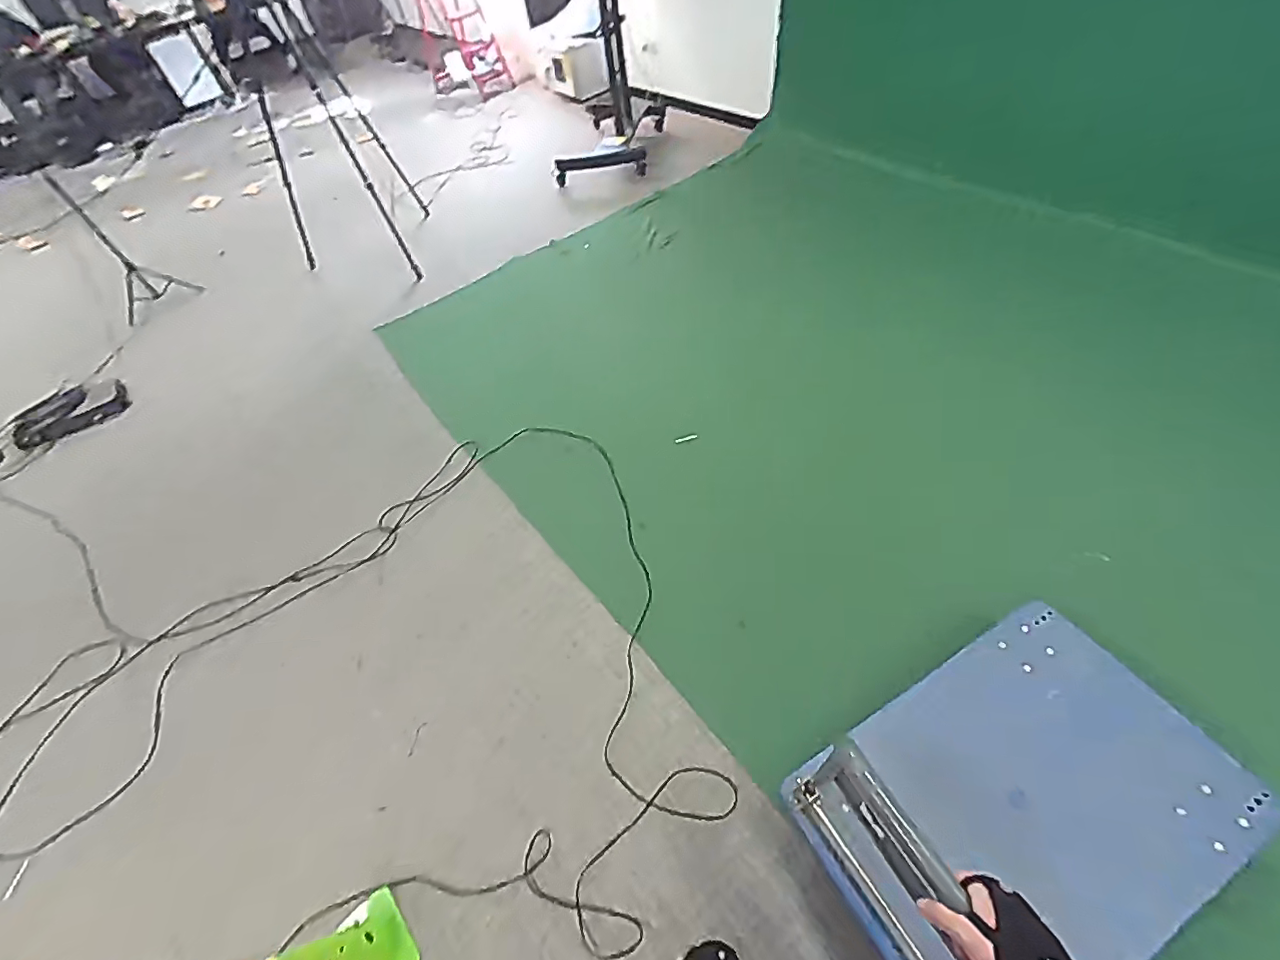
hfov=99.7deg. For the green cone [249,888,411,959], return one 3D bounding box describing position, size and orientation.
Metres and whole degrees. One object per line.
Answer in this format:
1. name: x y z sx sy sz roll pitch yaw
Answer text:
1. green cone: -0.673 0.998 1.120 0.200 0.368 0.202 -39 55 -21
